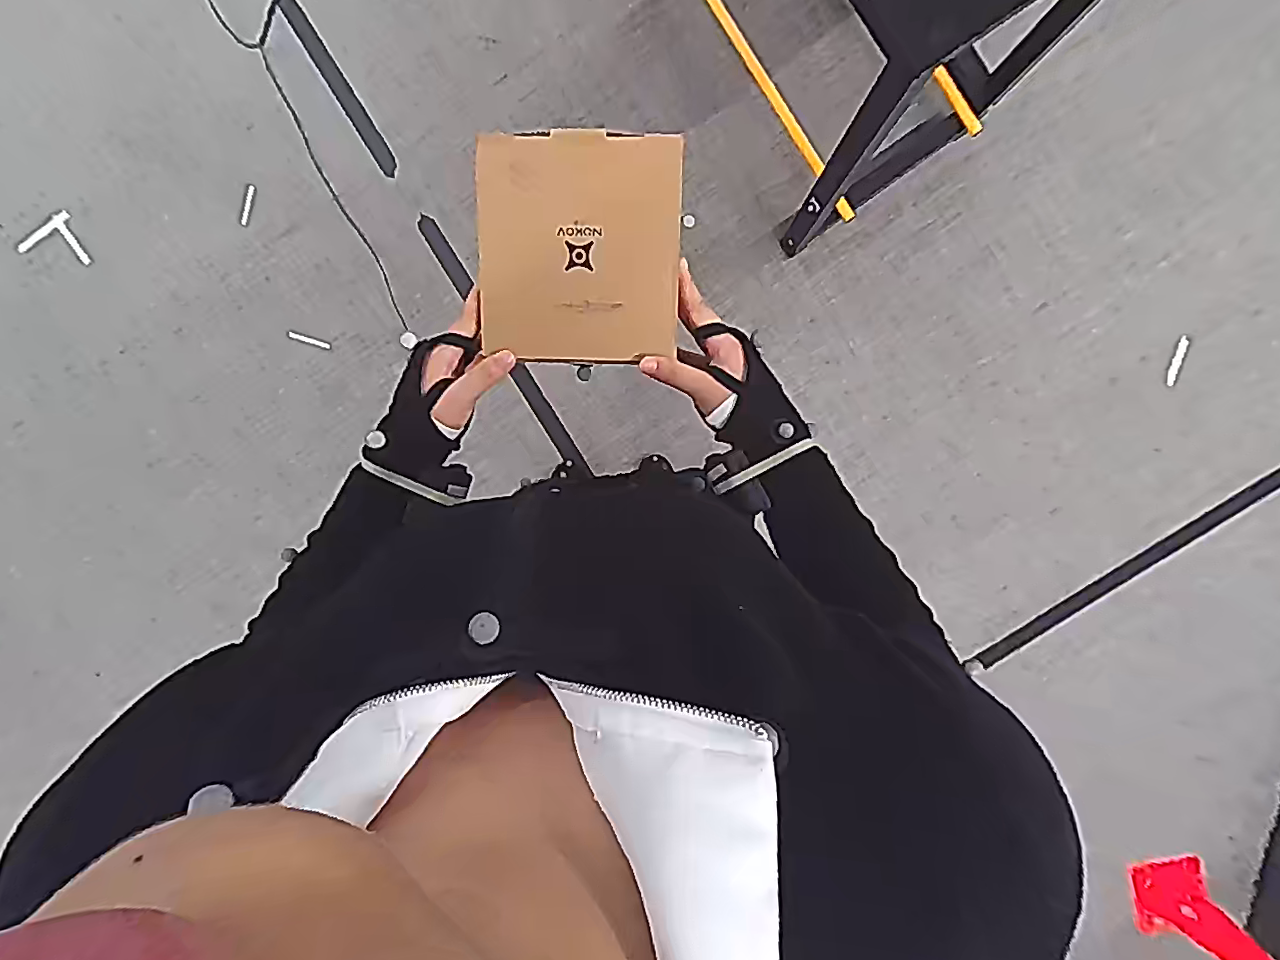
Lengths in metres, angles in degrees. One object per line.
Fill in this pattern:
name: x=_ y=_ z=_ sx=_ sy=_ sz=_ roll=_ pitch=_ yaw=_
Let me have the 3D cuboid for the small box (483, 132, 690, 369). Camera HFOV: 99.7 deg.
small box: x=-0.044 y=-0.200 z=0.517 sx=0.168 sy=0.176 sz=0.179 roll=2 pitch=101 yaw=1

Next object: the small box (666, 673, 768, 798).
small box: x=0.170 y=0.587 z=1.271 sx=0.179 sy=0.176 sz=0.168 roll=-33 pitch=92 yaw=4
